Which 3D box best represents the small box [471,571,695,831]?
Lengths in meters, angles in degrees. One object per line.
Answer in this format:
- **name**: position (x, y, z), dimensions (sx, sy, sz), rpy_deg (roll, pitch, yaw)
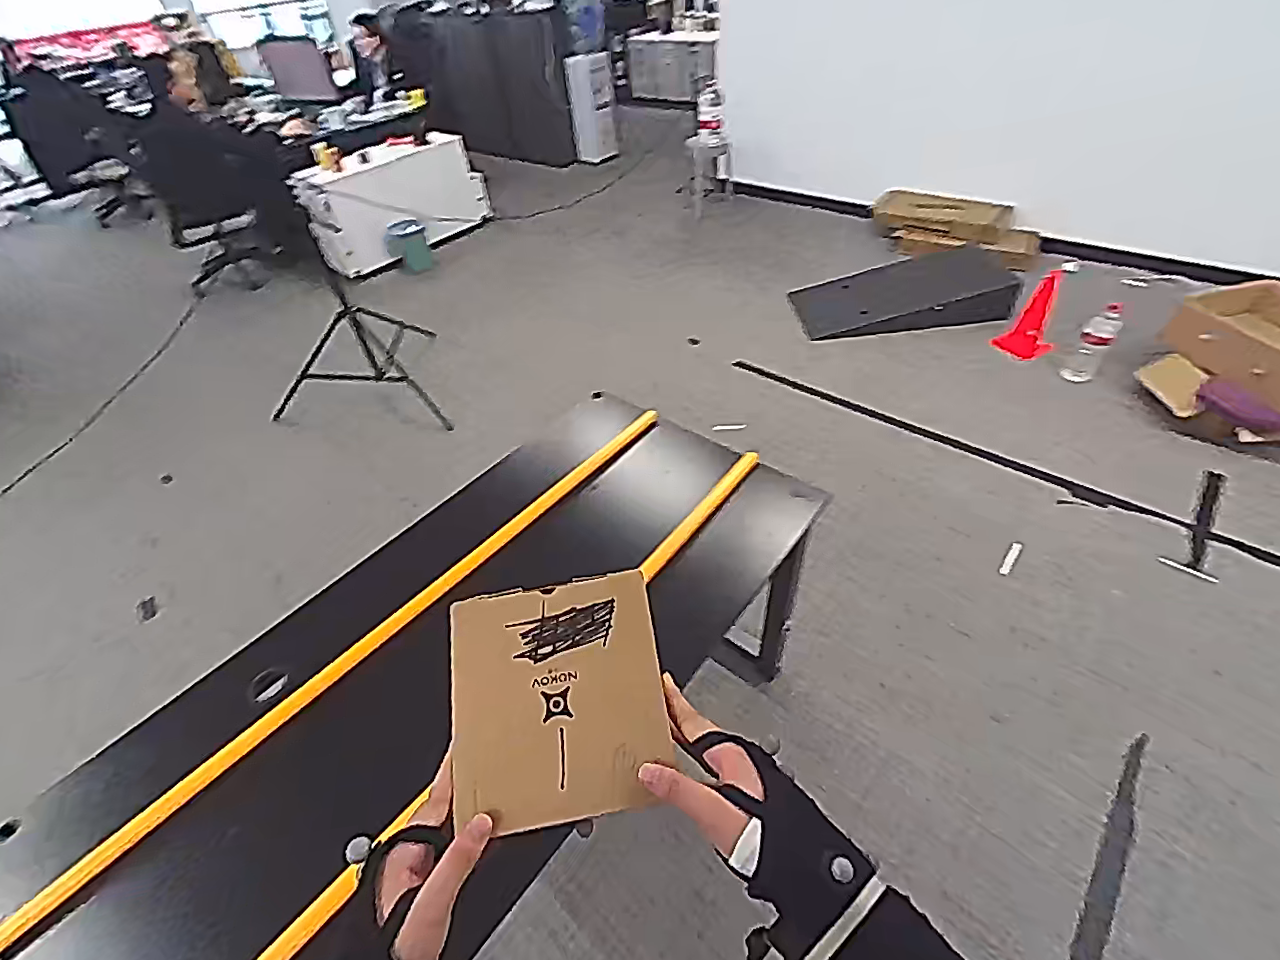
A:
- **small box**: position (-0.049, 0.203, 0.498), dimensions (0.168, 0.176, 0.179), rpy_deg (-9, 62, -2)
